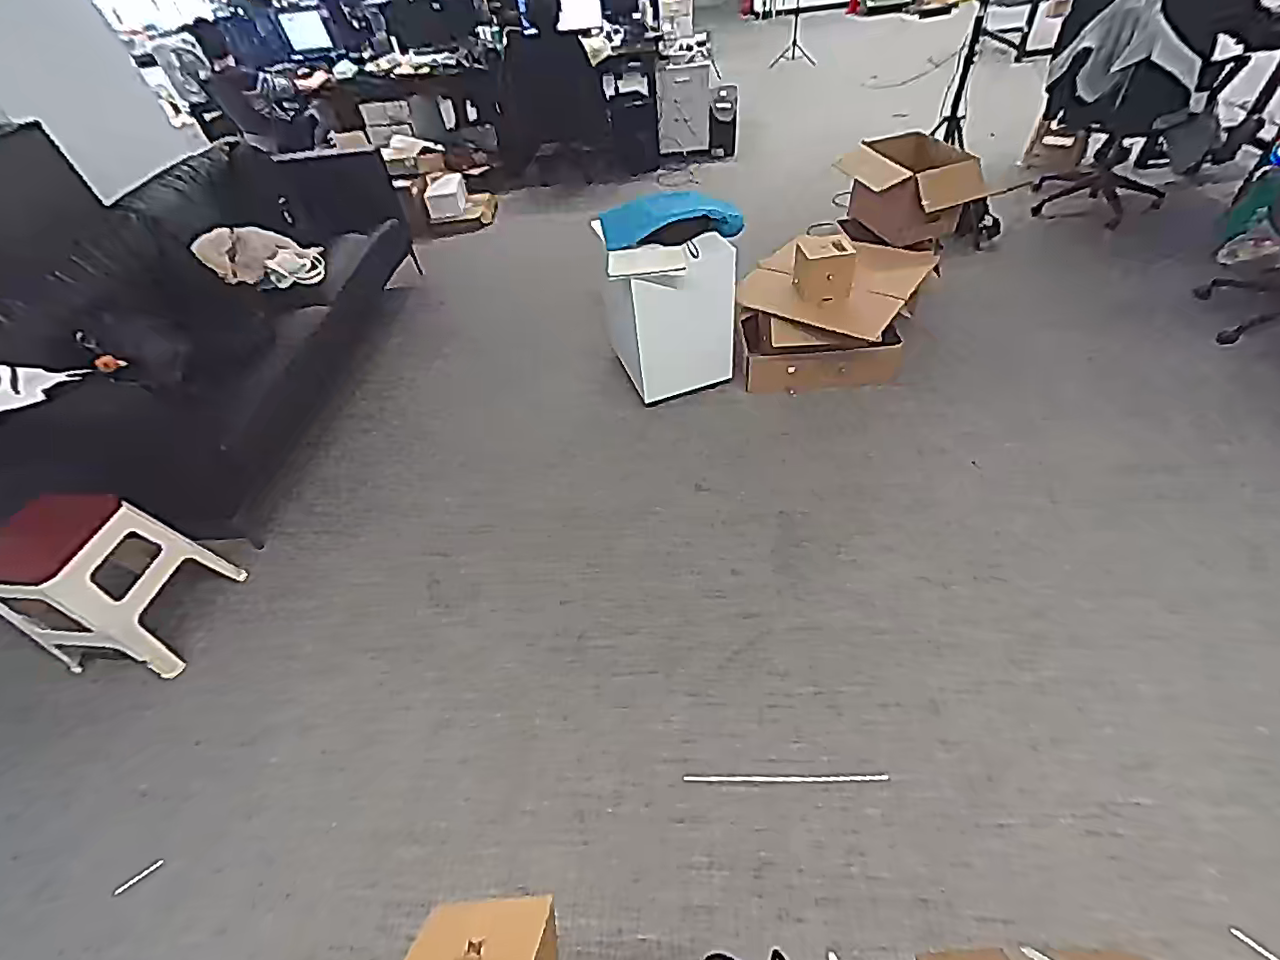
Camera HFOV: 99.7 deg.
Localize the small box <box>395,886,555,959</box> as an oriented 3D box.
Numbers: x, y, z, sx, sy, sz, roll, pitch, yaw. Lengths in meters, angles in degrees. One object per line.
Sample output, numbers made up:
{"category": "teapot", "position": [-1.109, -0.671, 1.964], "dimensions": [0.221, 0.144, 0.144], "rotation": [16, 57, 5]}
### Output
{"category": "small box", "position": [-0.201, 0.646, 0.661], "dimensions": [0.168, 0.179, 0.176], "rotation": [-5, 88, 2]}
